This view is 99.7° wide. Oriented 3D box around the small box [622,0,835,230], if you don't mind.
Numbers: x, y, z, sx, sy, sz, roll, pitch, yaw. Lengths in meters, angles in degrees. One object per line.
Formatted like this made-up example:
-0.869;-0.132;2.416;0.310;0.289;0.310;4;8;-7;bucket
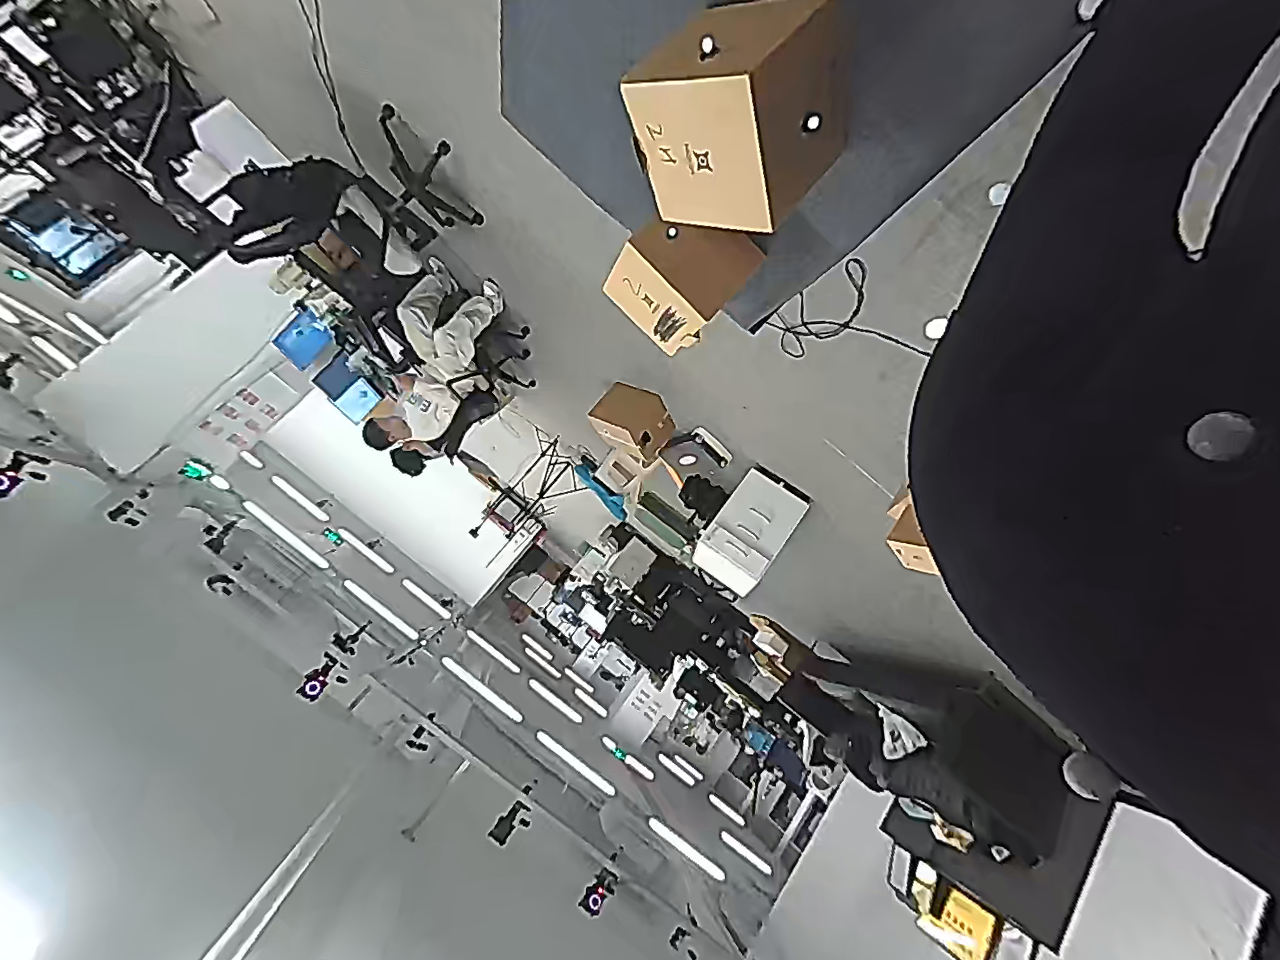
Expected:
0.116;-0.426;0.636;0.179;0.176;0.168;27;160;35;small box

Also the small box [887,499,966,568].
1.016;0.184;1.903;0.168;0.176;0.179;46;160;-25;small box
